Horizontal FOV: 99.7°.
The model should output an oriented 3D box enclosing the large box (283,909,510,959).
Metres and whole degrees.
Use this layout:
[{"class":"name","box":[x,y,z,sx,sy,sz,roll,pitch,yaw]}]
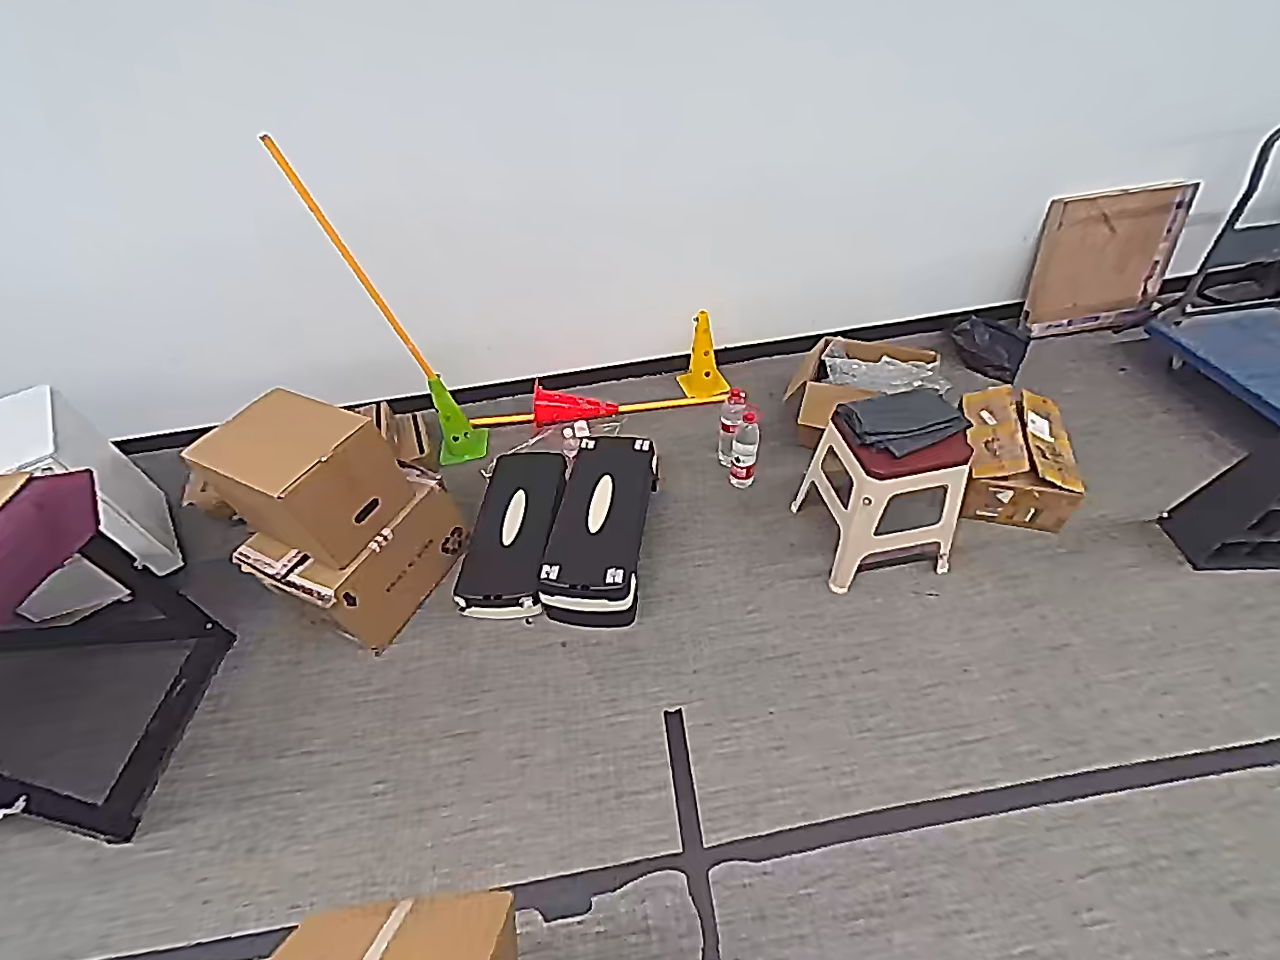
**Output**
[{"class":"large box","box":[-0.331,0.788,0.605,0.320,0.408,0.320,-6,84,-1]}]
